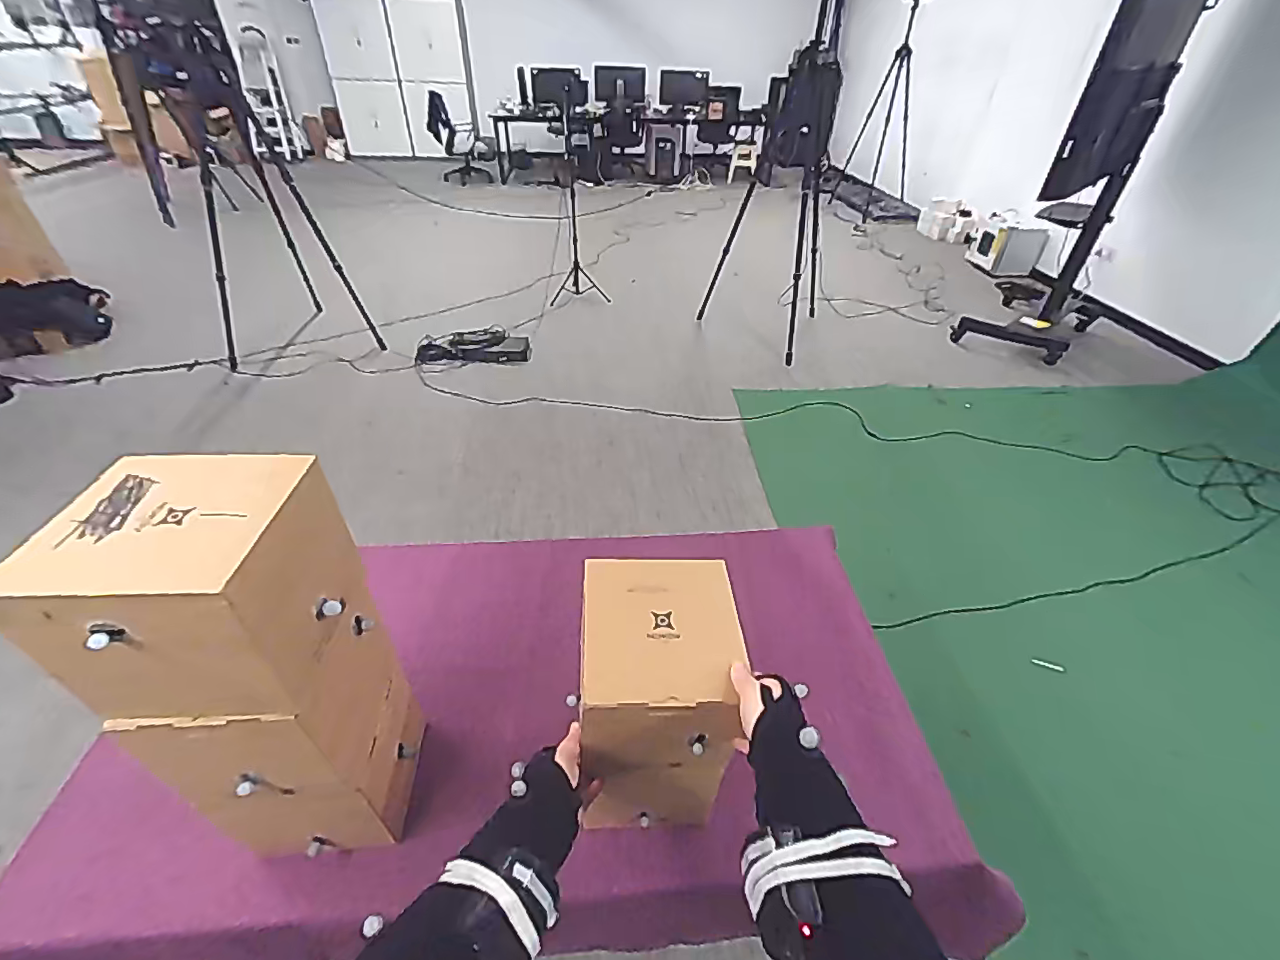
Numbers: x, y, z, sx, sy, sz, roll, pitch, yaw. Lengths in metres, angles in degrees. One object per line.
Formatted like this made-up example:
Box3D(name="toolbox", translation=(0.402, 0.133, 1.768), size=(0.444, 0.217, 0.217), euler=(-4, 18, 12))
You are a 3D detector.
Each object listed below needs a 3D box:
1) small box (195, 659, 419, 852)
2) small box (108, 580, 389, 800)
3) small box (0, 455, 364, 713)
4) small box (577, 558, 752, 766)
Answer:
Box3D(name="small box", translation=(-0.400, 0.352, 0.694), size=(0.179, 0.176, 0.168), euler=(-2, 39, -6))
Box3D(name="small box", translation=(-0.395, 0.221, 0.592), size=(0.168, 0.176, 0.179), euler=(-2, 40, -4))
Box3D(name="small box", translation=(-0.385, 0.093, 0.489), size=(0.179, 0.176, 0.168), euler=(0, 39, -4))
Box3D(name="small box", translation=(0.014, 0.210, 0.617), size=(0.168, 0.176, 0.179), euler=(2, 41, -7))
